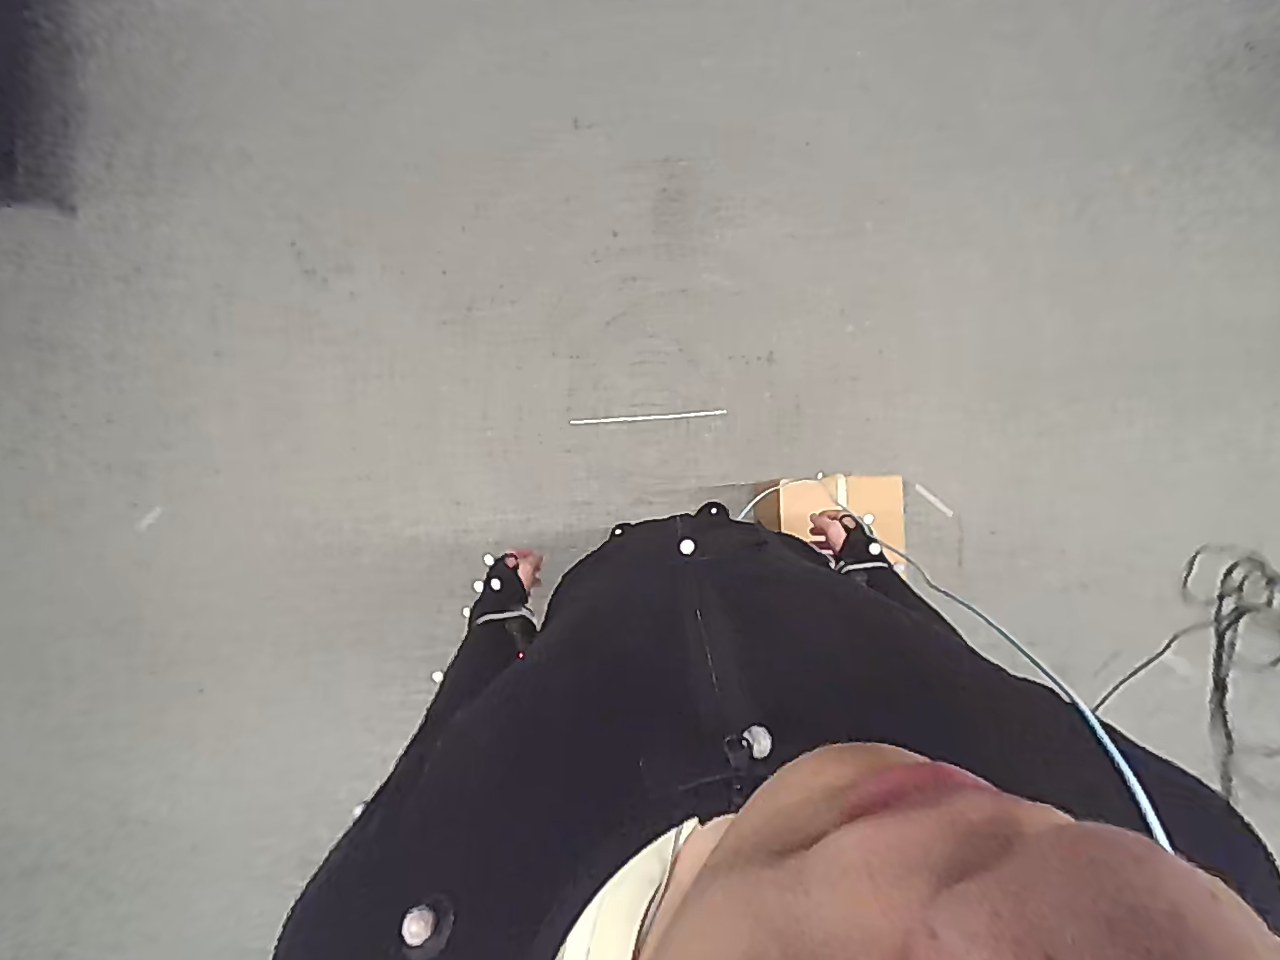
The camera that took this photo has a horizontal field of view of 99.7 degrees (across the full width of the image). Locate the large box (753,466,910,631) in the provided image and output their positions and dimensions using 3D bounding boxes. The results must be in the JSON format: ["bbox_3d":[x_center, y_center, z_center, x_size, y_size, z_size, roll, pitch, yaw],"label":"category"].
[{"bbox_3d":[0.509,0.174,1.502,0.320,0.320,0.408,-3,89,0],"label":"large box"}]
